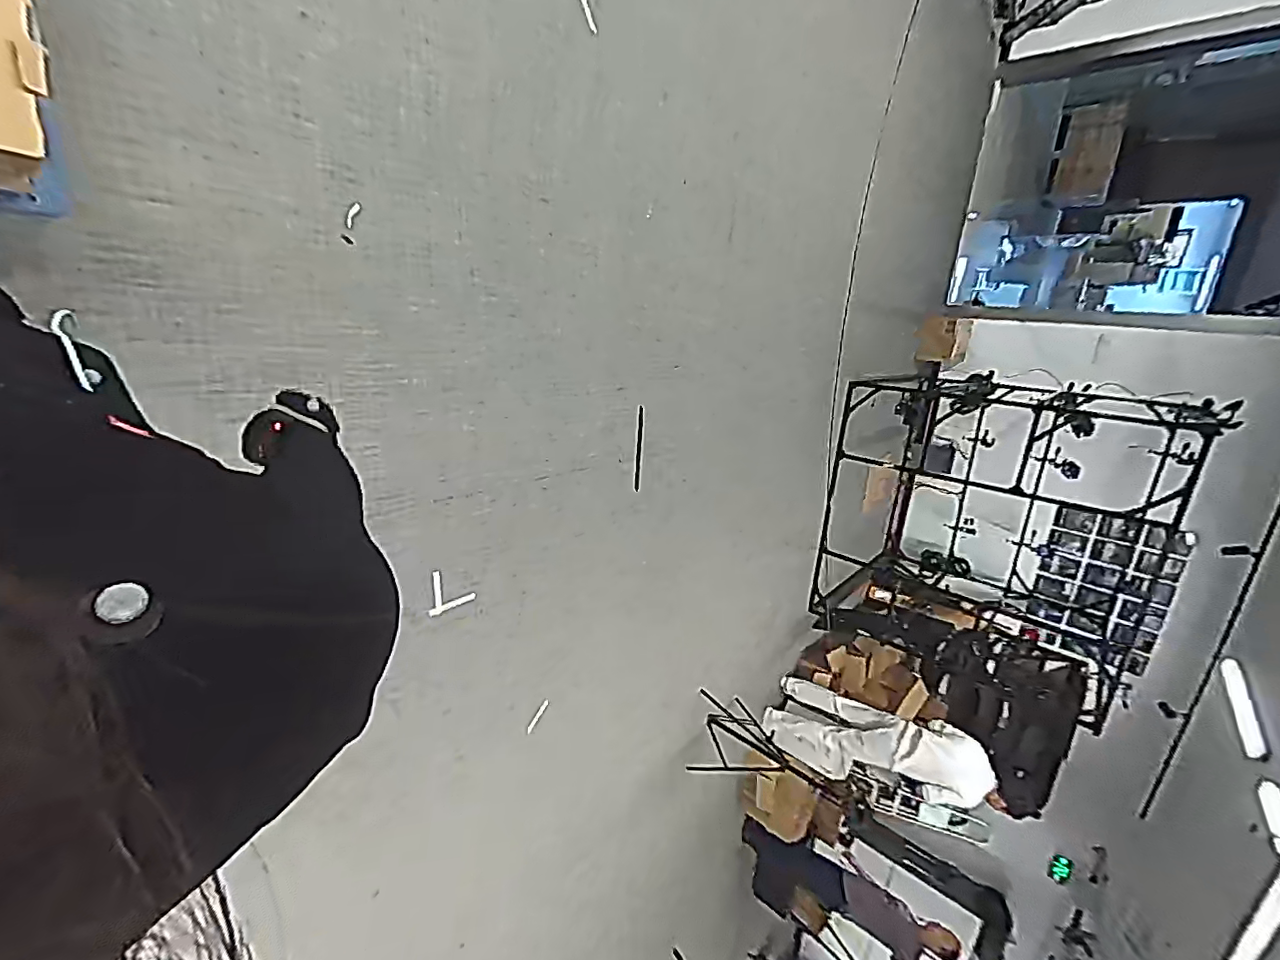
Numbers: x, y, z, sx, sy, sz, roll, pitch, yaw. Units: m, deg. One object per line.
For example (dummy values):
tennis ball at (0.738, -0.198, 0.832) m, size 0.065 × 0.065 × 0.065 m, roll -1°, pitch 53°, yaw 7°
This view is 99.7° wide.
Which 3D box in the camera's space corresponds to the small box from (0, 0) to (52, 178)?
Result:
small box at (-0.696, -0.402, 0.508) m, size 0.179 × 0.176 × 0.168 m, roll -7°, pitch 108°, yaw -49°

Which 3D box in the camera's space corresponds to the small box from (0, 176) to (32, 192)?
small box at (-0.822, -0.443, 0.604) m, size 0.168 × 0.176 × 0.179 m, roll -12°, pitch 113°, yaw -48°
